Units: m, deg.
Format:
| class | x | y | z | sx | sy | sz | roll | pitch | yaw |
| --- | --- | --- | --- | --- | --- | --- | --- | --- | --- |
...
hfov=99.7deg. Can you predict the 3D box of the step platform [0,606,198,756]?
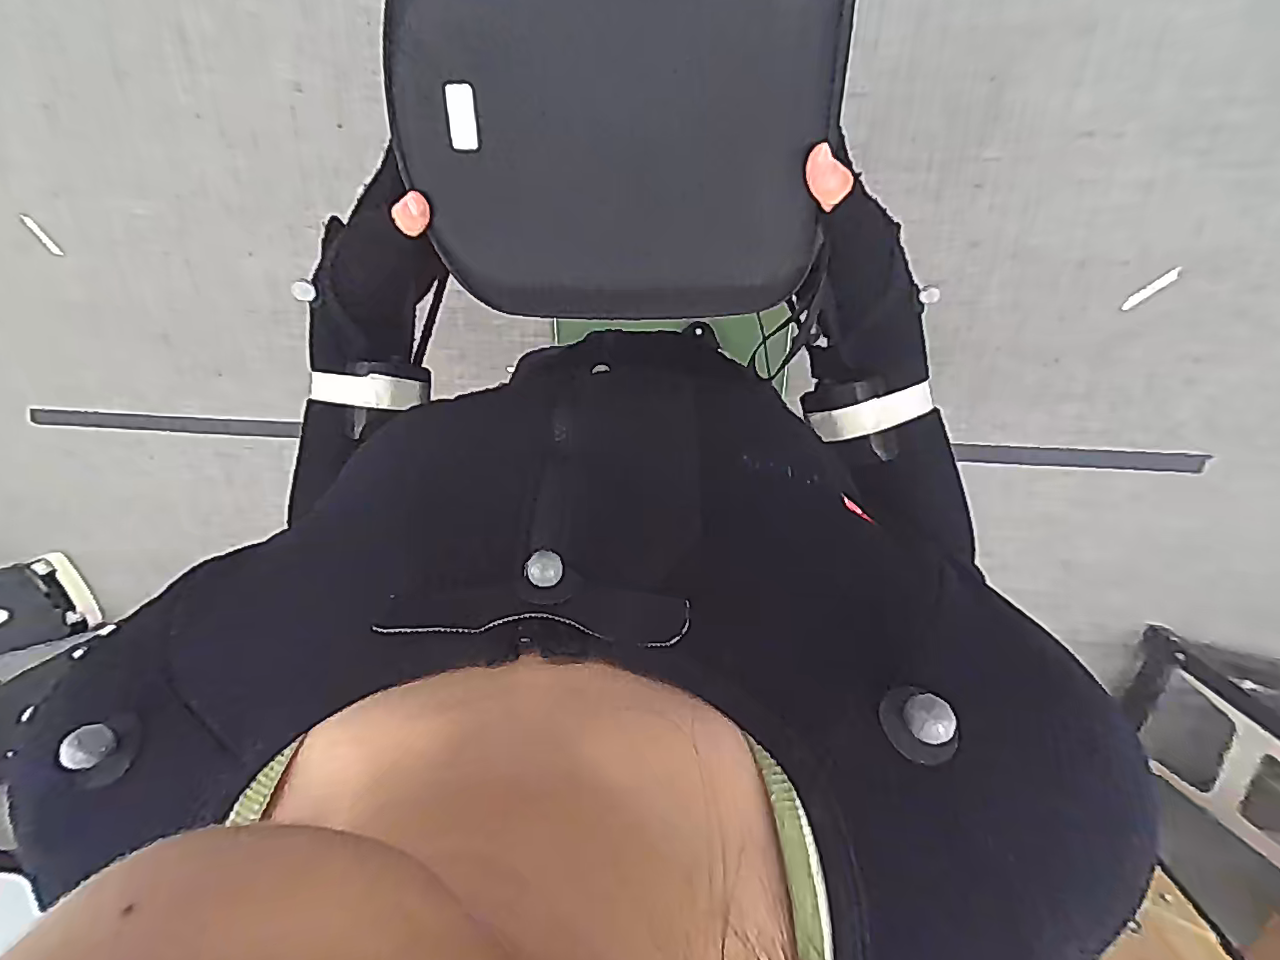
| class | x | y | z | sx | sy | sz | roll | pitch | yaw |
| --- | --- | --- | --- | --- | --- | --- | --- | --- | --- |
| step platform | -1.915 | 0.699 | 1.870 | 0.684 | 0.204 | 0.286 | -25 | 103 | 12 |
